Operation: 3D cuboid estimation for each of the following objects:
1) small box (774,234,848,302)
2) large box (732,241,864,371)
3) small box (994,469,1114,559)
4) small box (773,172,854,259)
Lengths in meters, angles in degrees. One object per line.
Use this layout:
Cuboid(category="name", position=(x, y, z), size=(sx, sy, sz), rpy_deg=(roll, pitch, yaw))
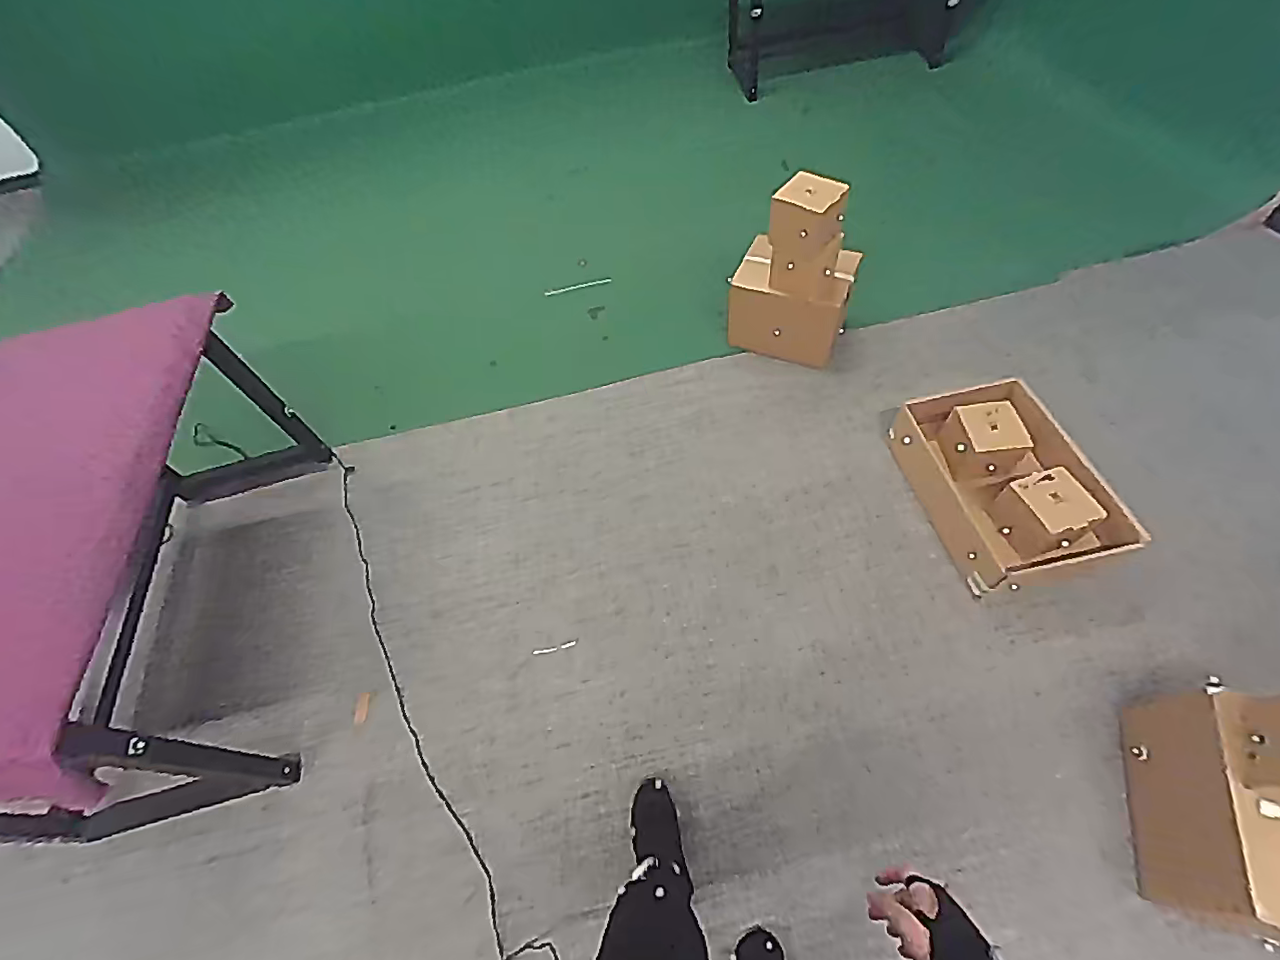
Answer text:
Cuboid(category="small box", position=(0.572, -0.734, 1.831), size=(0.179, 0.176, 0.168), rpy_deg=(30, 68, 24))
Cuboid(category="large box", position=(0.595, -0.667, 2.077), size=(0.408, 0.320, 0.320), rpy_deg=(19, 61, 20))
Cuboid(category="small box", position=(1.144, 0.103, 1.511), size=(0.168, 0.176, 0.179), rpy_deg=(-17, 57, -3))
Cuboid(category="small box", position=(0.537, -0.825, 1.699), size=(0.179, 0.176, 0.168), rpy_deg=(34, 69, 26))
